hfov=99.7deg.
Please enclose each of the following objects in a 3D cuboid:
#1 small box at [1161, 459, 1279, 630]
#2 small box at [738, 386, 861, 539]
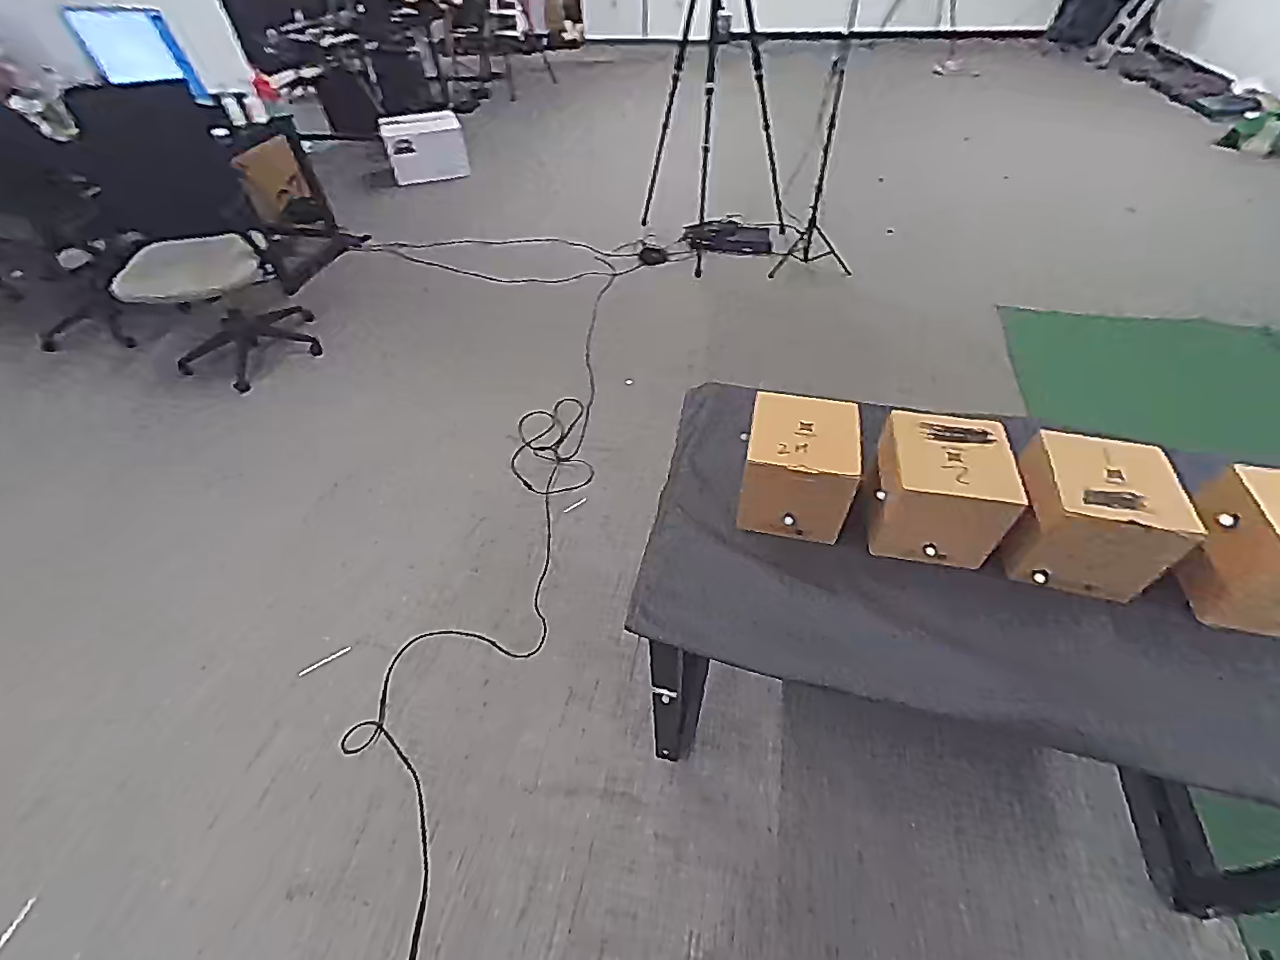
[{"bbox_3d":[0.905,0.099,0.760,0.168,0.176,0.179,9,49,11],"label":"small box"},{"bbox_3d":[0.261,-0.030,0.905,0.168,0.176,0.179,9,49,11],"label":"small box"}]
